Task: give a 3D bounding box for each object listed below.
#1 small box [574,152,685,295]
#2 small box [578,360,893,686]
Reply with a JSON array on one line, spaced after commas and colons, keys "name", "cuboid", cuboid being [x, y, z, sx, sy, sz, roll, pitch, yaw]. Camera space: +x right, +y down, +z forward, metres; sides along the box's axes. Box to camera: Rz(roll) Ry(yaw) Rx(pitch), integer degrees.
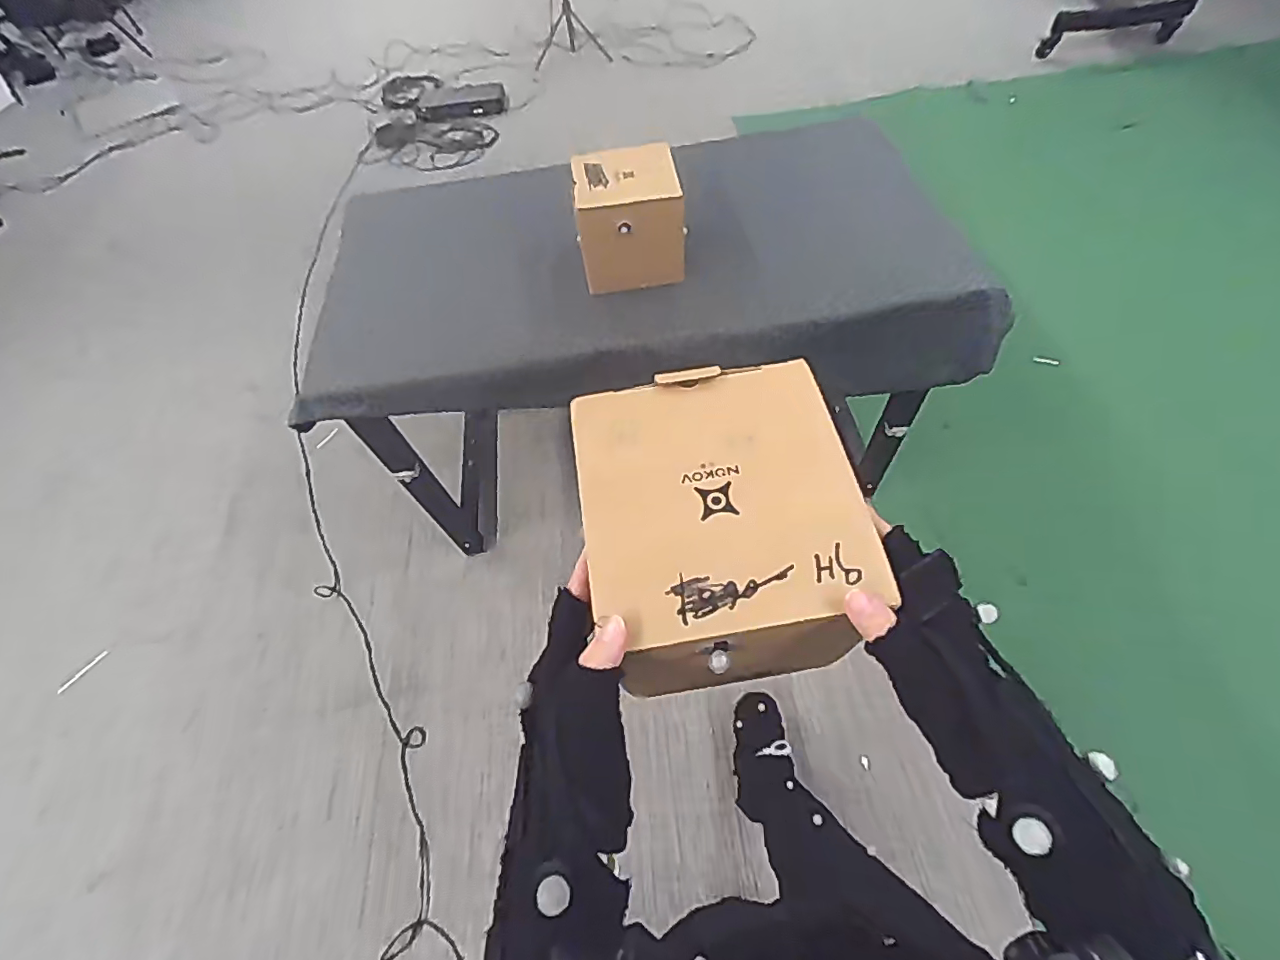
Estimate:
[{"name": "small box", "cuboid": [-0.016, -0.457, 0.979, 0.179, 0.176, 0.168, -8, 58, 1]}, {"name": "small box", "cuboid": [0.054, 0.041, 0.412, 0.168, 0.176, 0.179, -11, 61, -2]}]
